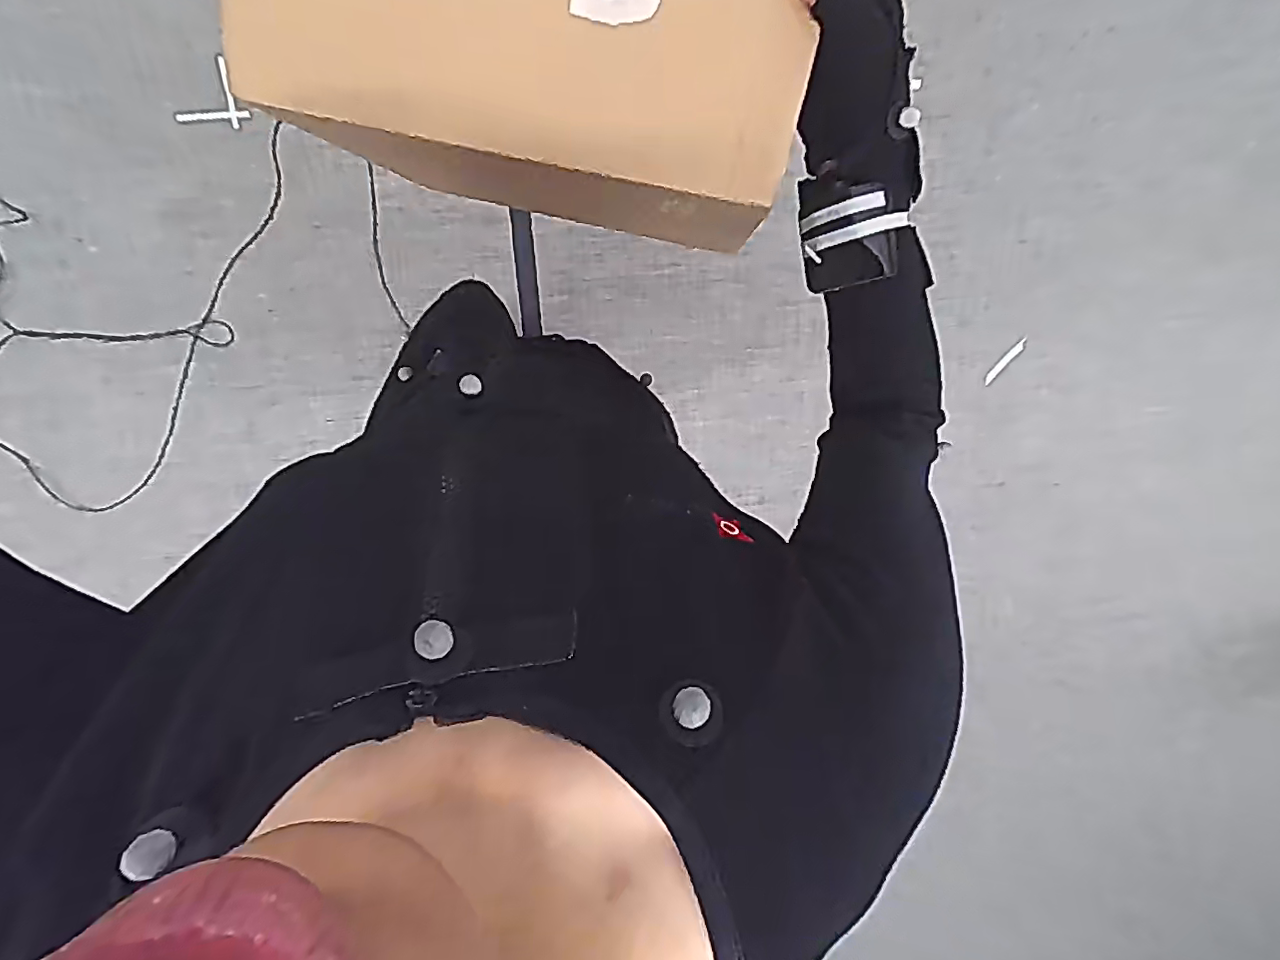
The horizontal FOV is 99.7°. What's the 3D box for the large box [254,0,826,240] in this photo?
[{"bbox_3d":[-0.054,-0.436,0.497,0.408,0.320,0.320,12,109,1],"label":"large box"}]
